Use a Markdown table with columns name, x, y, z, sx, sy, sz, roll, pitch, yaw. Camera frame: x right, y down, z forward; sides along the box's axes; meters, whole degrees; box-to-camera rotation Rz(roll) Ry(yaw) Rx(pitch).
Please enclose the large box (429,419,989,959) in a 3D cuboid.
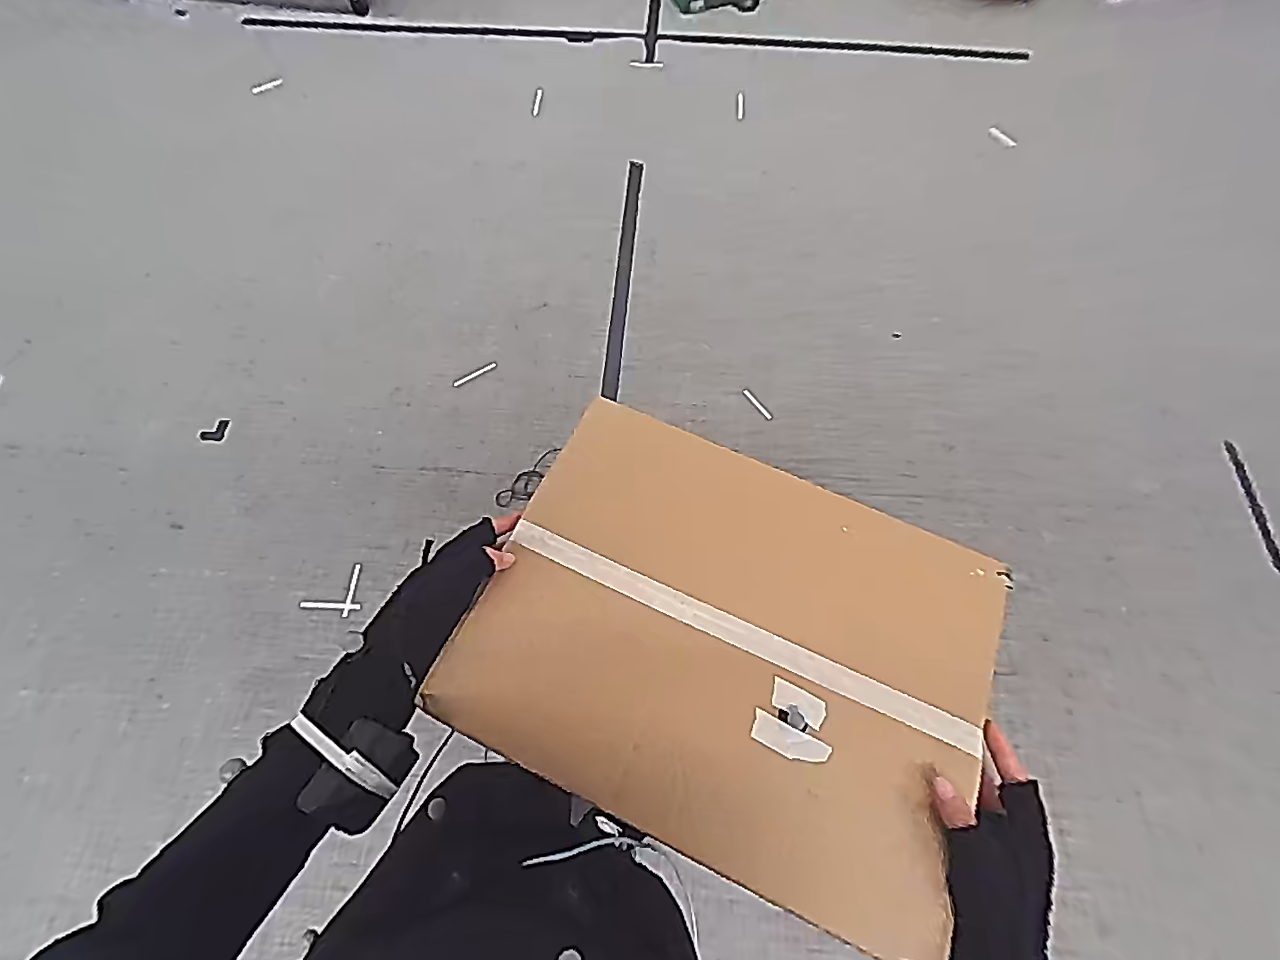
| name | x | y | z | sx | sy | sz | roll | pitch | yaw |
| --- | --- | --- | --- | --- | --- | --- | --- | --- | --- |
| large box | 0.066 | 0.199 | 0.587 | 0.408 | 0.320 | 0.320 | 24 | 66 | 9 |
